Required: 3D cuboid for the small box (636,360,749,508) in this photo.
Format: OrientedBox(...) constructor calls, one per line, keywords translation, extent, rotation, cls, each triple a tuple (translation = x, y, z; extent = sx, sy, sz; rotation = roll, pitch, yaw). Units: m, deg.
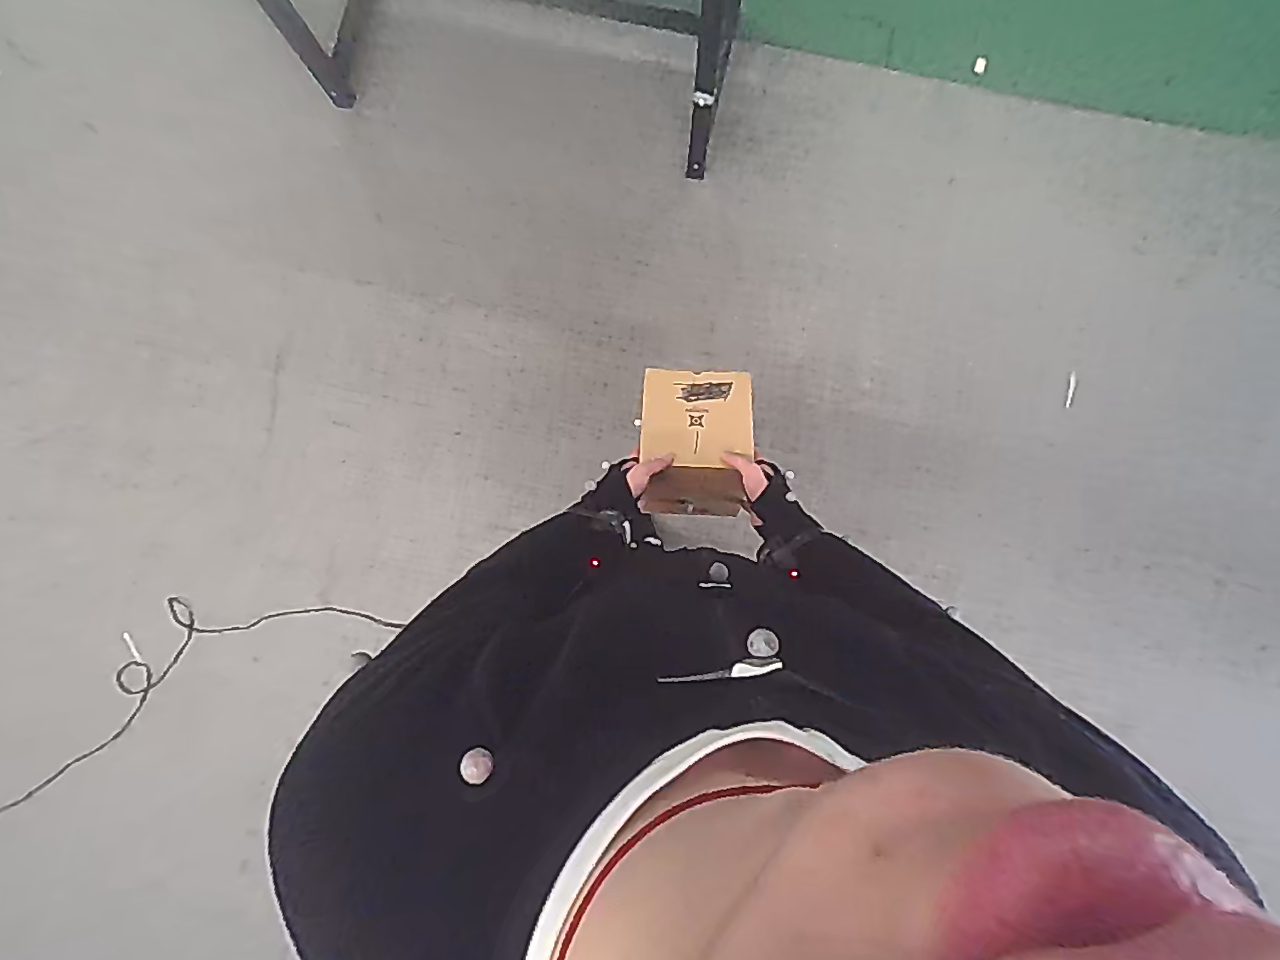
OrientedBox(translation=(0.080, -0.070, 0.875), extent=(0.168, 0.176, 0.179), rotation=(2, 64, 2), cls="small box")
